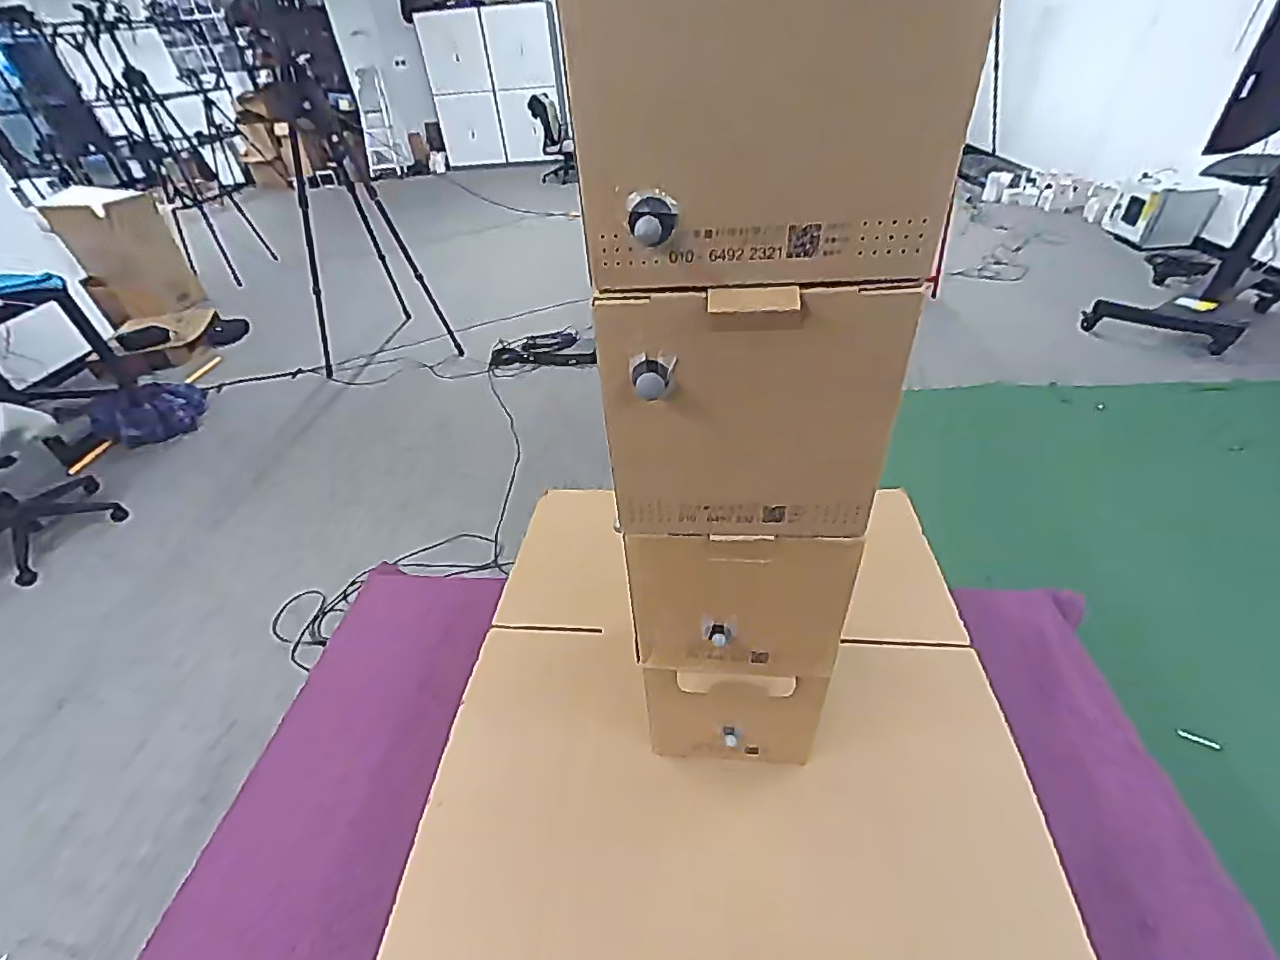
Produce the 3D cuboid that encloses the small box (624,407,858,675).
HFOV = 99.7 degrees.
[{"bbox_3d":[0.082,0.049,0.491,0.168,0.176,0.179,0,39,7],"label":"small box"}]

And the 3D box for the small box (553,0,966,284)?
[{"bbox_3d":[0.057,-0.212,0.290,0.168,0.176,0.179,1,37,7],"label":"small box"}]

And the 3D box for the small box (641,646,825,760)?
[{"bbox_3d":[0.096,0.176,0.592,0.168,0.176,0.179,0,39,8],"label":"small box"}]
